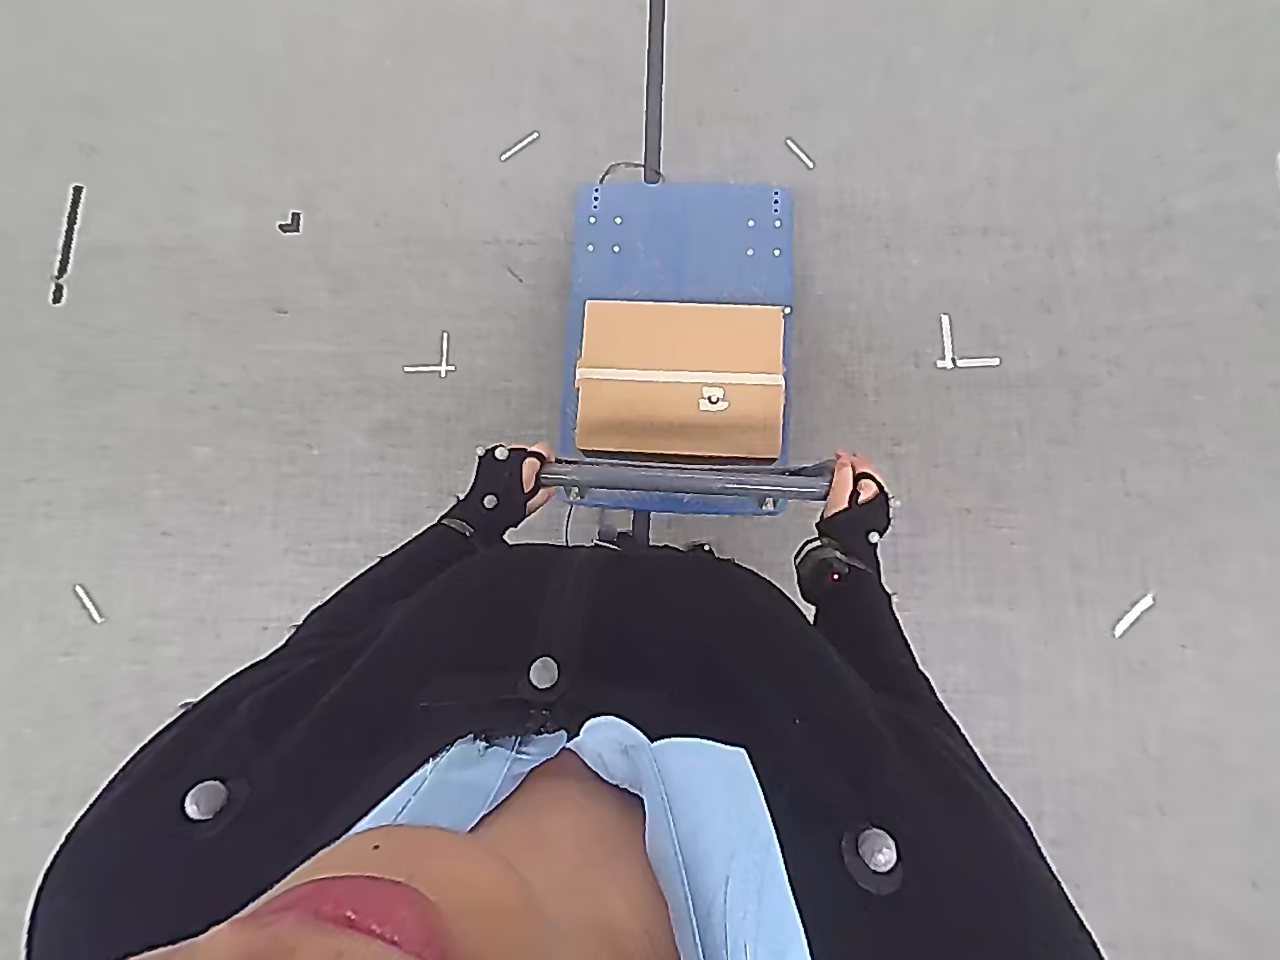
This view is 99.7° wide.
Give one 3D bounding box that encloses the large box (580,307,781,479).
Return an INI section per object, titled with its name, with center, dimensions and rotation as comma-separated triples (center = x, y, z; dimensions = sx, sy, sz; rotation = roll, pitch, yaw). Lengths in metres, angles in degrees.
[large box]
center = 0.086, -0.179, 1.234
dimensions = 0.408, 0.320, 0.320
rotation = 3, 83, 2
